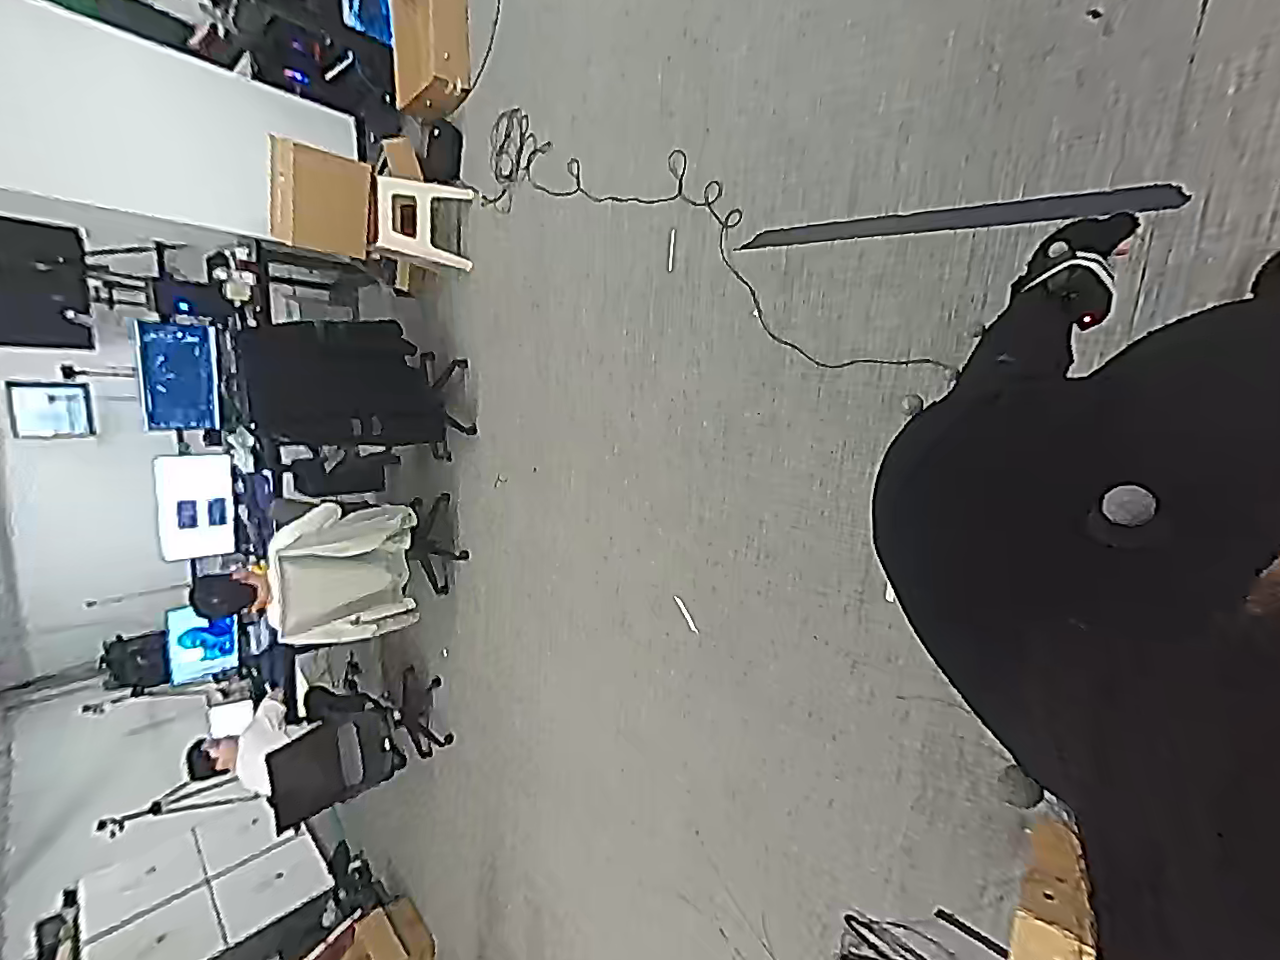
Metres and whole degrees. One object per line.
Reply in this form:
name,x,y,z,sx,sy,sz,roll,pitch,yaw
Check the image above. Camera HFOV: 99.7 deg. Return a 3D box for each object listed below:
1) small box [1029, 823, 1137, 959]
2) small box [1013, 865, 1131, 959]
small box,0.989,0.912,1.209,0.179,0.176,0.168,3,98,42
small box,0.875,0.942,1.096,0.168,0.176,0.179,8,103,44
